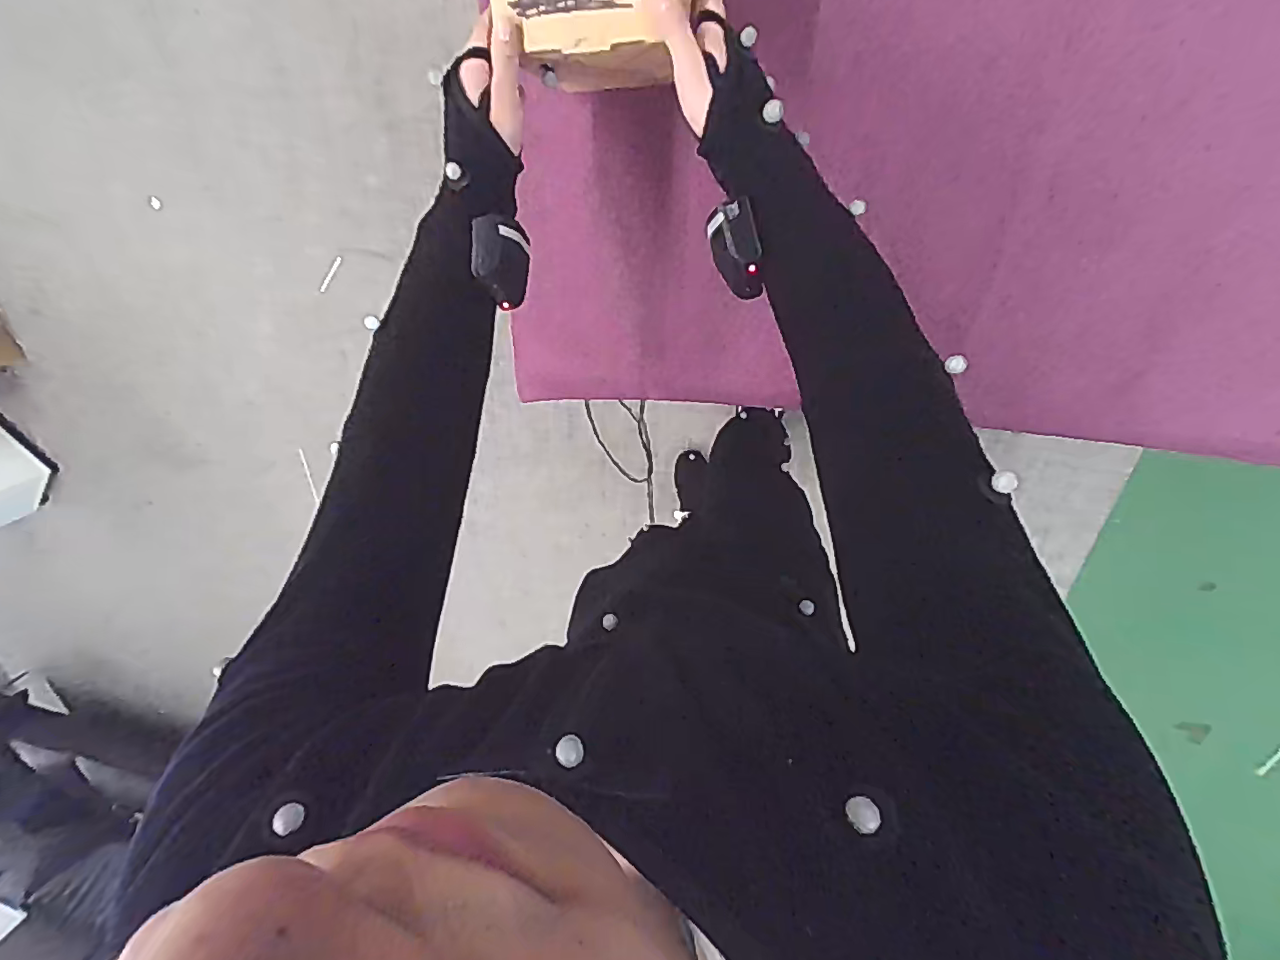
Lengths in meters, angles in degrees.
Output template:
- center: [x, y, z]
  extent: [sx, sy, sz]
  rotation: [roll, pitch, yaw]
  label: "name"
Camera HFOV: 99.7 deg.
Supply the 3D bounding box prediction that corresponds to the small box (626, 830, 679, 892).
- center: [0.050, 1.521, 2.111]
  extent: [0.168, 0.176, 0.179]
  rotation: [14, 118, 10]
  label: "small box"
